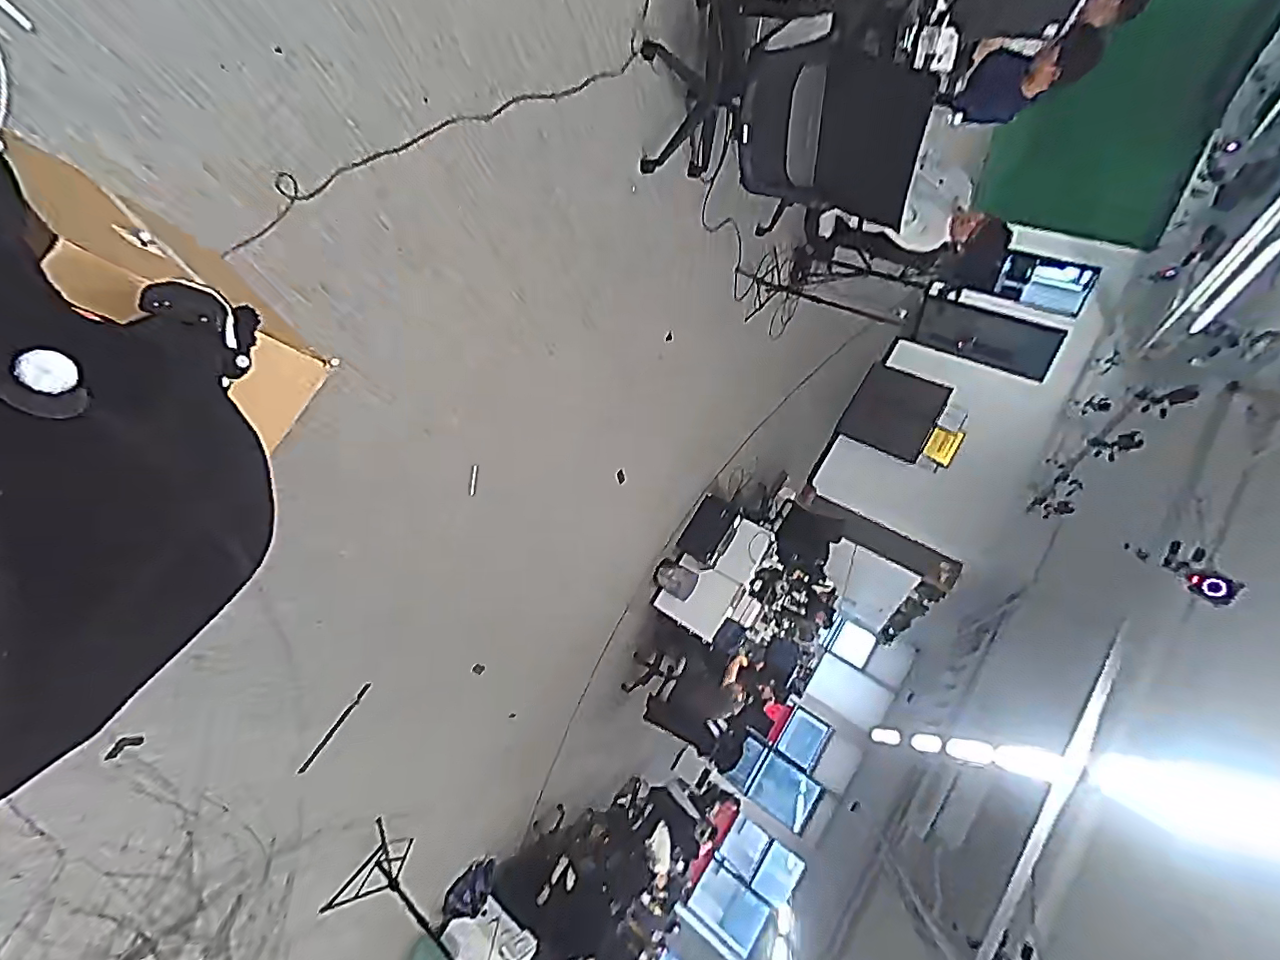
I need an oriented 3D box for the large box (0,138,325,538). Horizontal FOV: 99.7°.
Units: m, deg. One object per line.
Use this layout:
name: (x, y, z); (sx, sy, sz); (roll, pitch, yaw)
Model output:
large box: (-0.737, -0.177, 0.710); (0.320, 0.408, 0.320); (-52, 161, 2)
